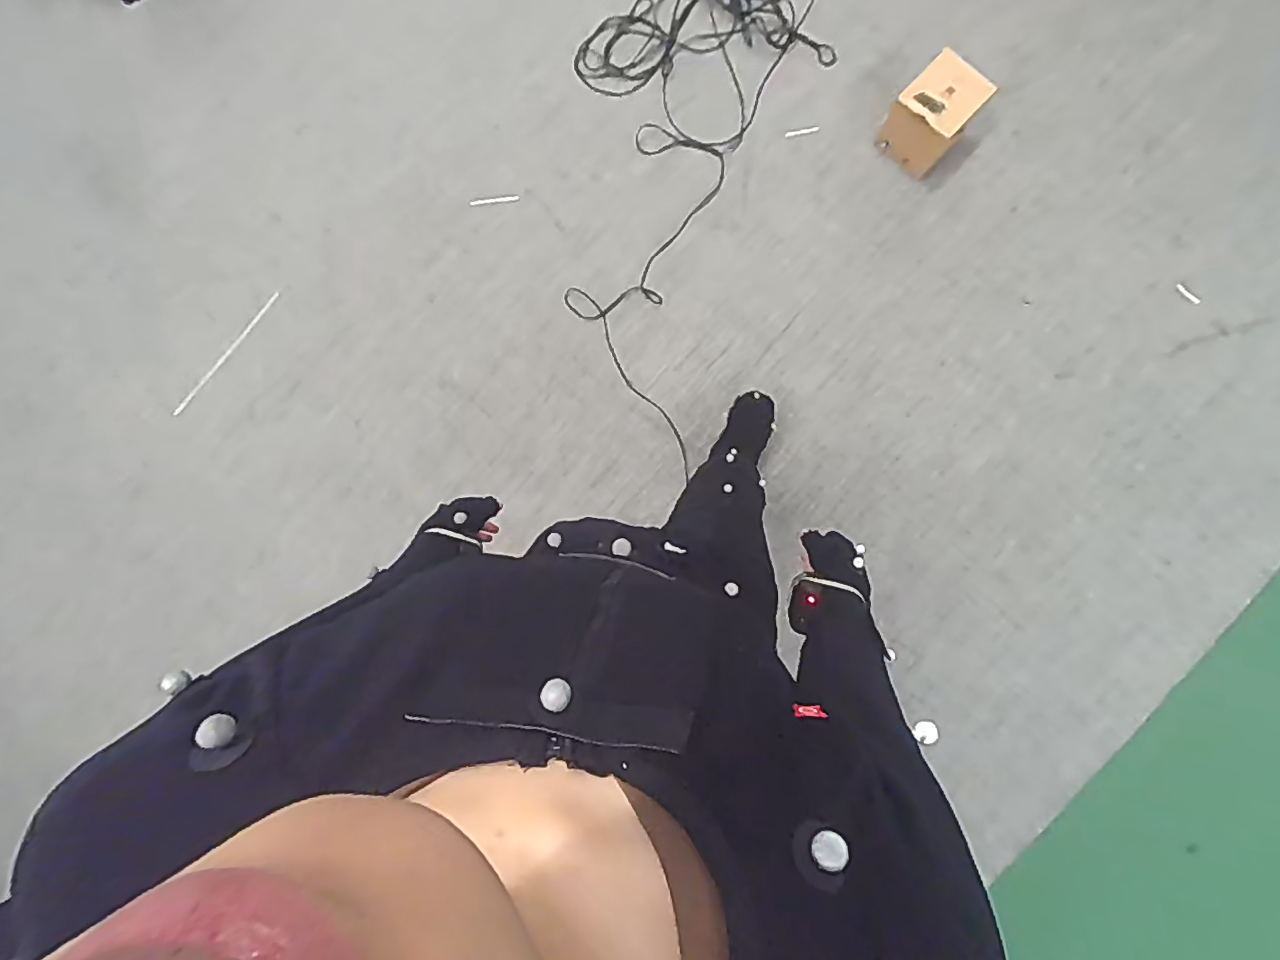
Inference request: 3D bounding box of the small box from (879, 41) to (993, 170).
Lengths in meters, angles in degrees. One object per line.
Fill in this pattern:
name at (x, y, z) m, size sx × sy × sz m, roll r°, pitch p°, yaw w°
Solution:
small box at (0.748, -0.954, 1.396) m, size 0.168 × 0.176 × 0.179 m, roll 44°, pitch 91°, yaw 5°
